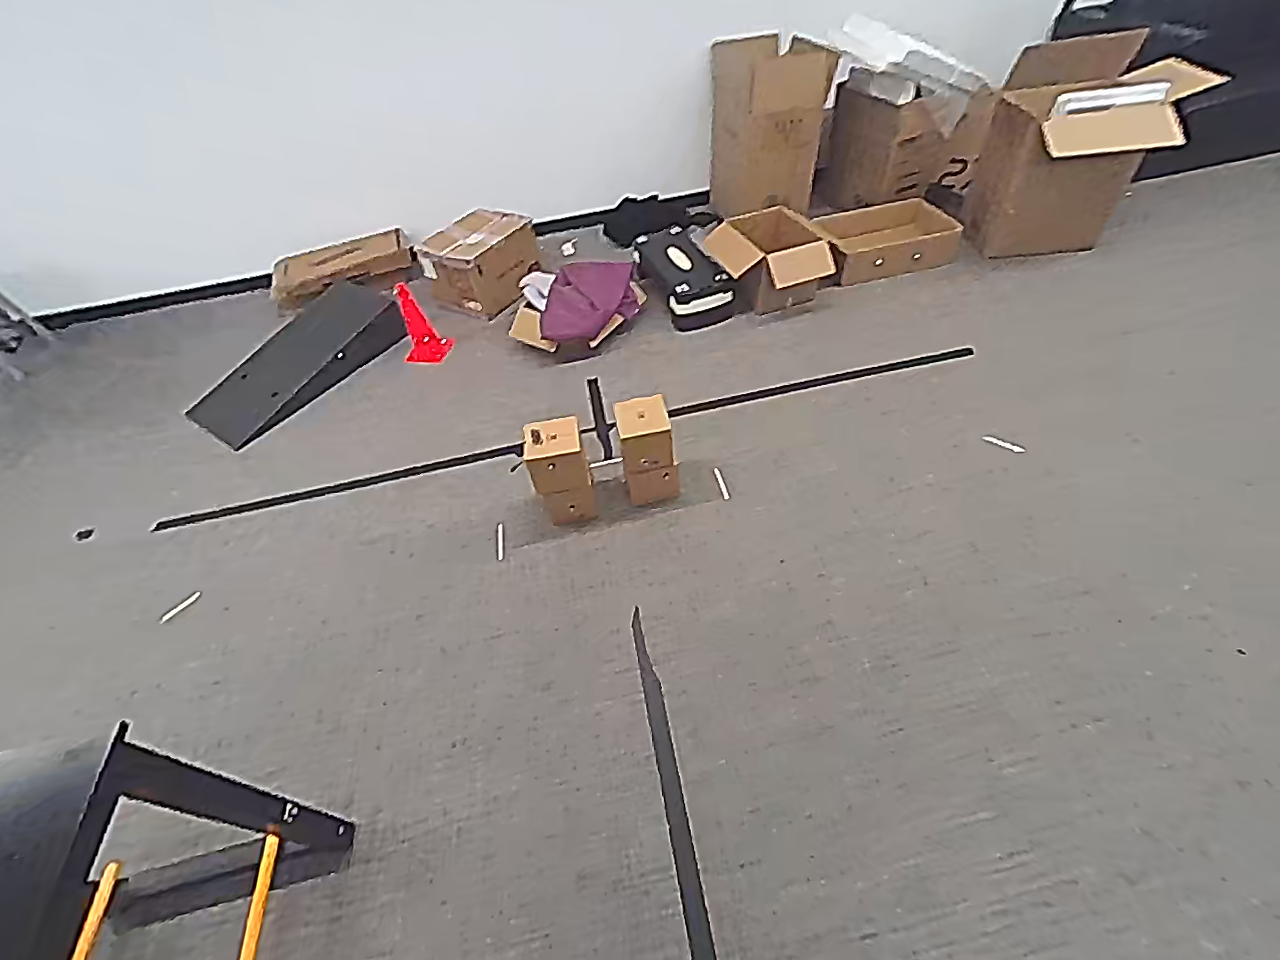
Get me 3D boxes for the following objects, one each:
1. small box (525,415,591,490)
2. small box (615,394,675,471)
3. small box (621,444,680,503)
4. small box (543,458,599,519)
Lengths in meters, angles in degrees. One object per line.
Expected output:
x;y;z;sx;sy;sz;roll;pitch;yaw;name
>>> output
-0.265;-0.084;1.760;0.179;0.176;0.168;-10;48;0;small box
0.018;-0.156;1.793;0.168;0.176;0.179;-12;50;-2;small box
0.039;-0.041;1.907;0.179;0.176;0.168;-13;48;-4;small box
-0.240;0.021;1.888;0.168;0.176;0.179;-10;49;-1;small box
